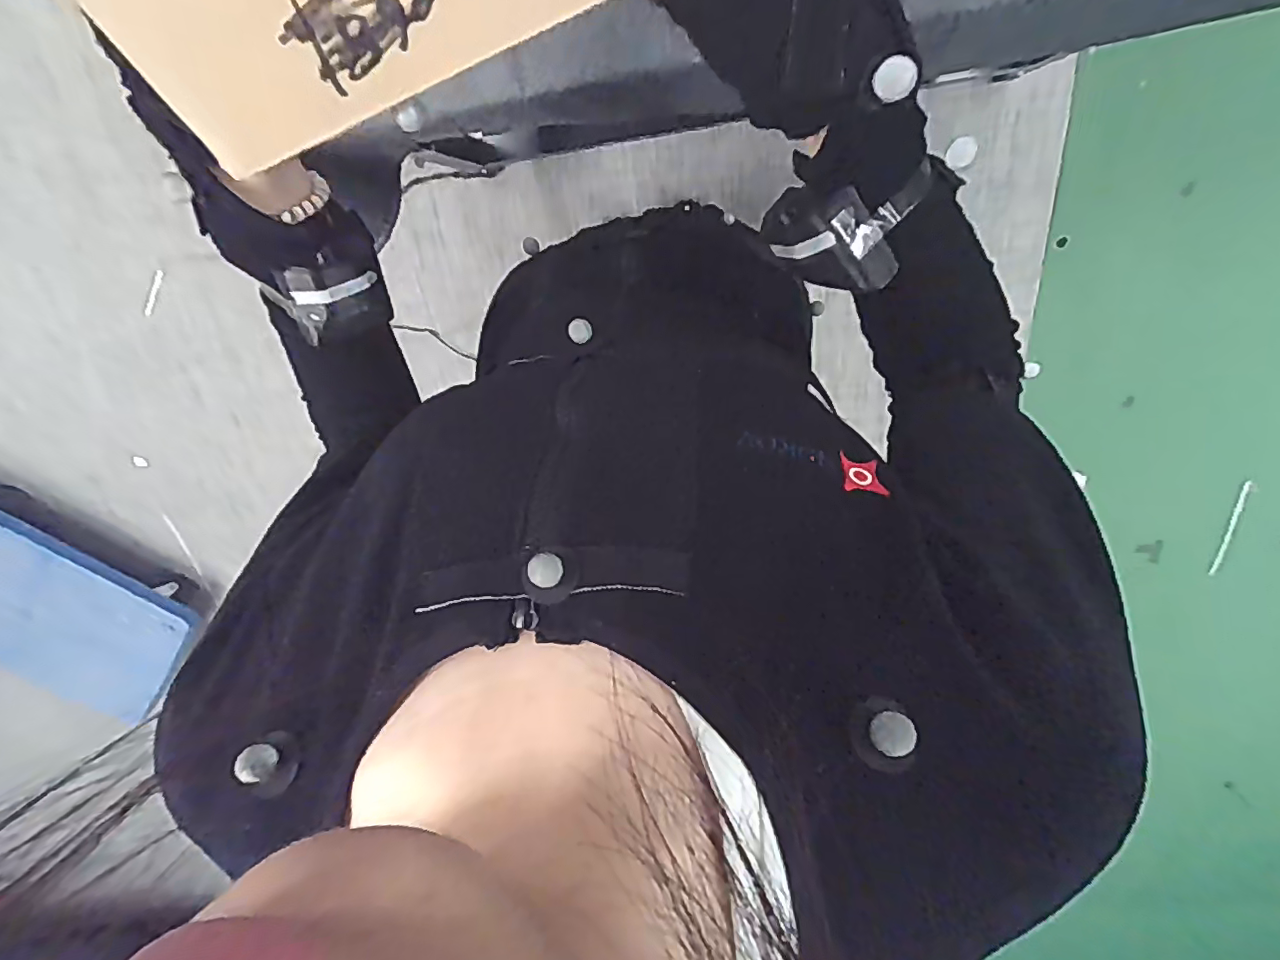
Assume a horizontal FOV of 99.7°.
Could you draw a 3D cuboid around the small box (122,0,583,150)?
[{"bbox_3d":[-0.117,-0.253,0.175,0.168,0.176,0.179,-27,142,-1],"label":"small box"}]
